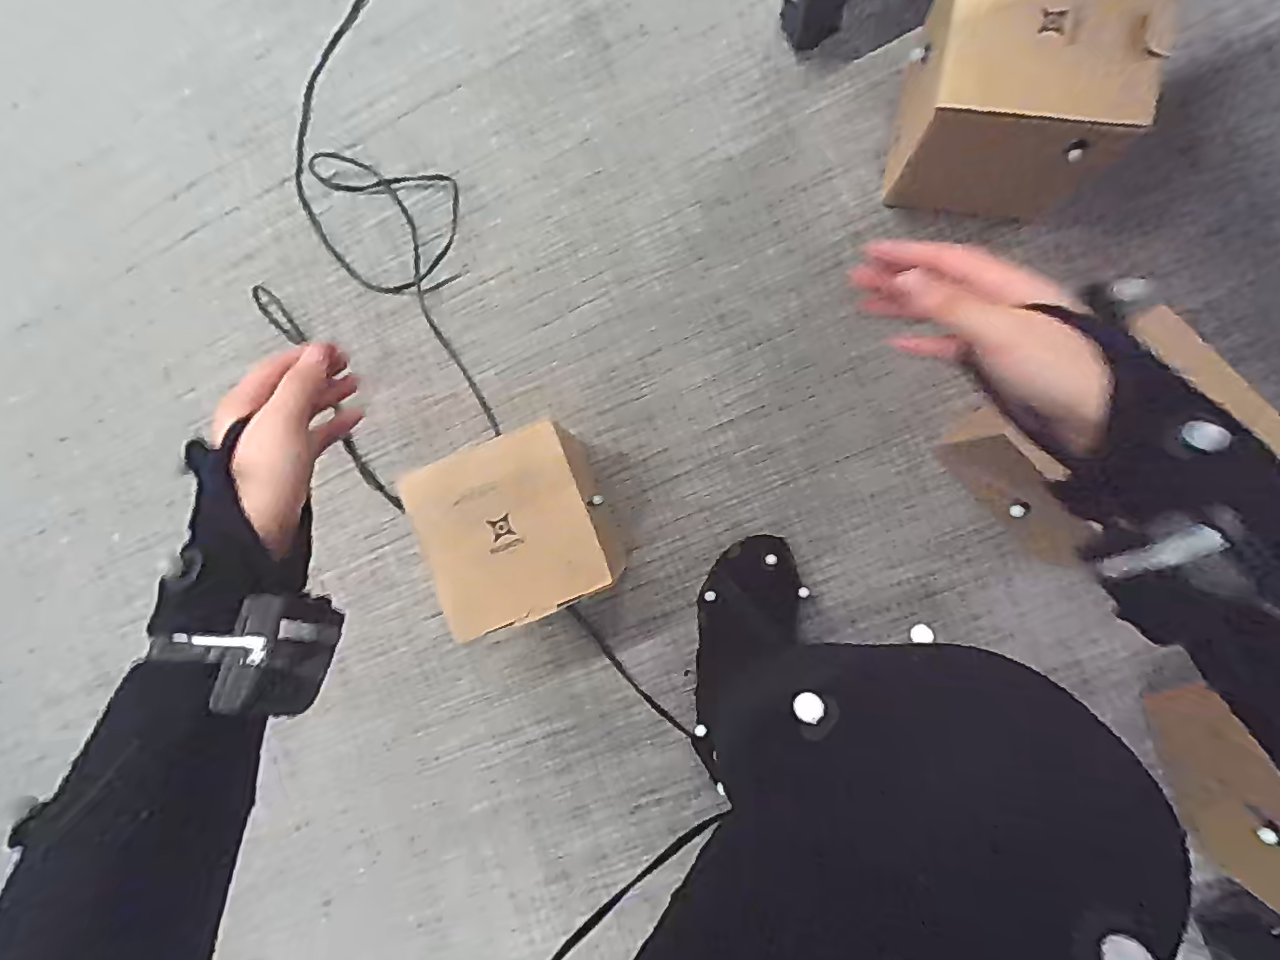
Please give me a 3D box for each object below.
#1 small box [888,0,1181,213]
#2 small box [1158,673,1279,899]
[{"bbox_3d":[0.371,-0.391,0.538,0.179,0.176,0.168,10,91,7],"label":"small box"},{"bbox_3d":[0.642,0.292,0.494,0.168,0.176,0.179,-17,88,8],"label":"small box"}]
